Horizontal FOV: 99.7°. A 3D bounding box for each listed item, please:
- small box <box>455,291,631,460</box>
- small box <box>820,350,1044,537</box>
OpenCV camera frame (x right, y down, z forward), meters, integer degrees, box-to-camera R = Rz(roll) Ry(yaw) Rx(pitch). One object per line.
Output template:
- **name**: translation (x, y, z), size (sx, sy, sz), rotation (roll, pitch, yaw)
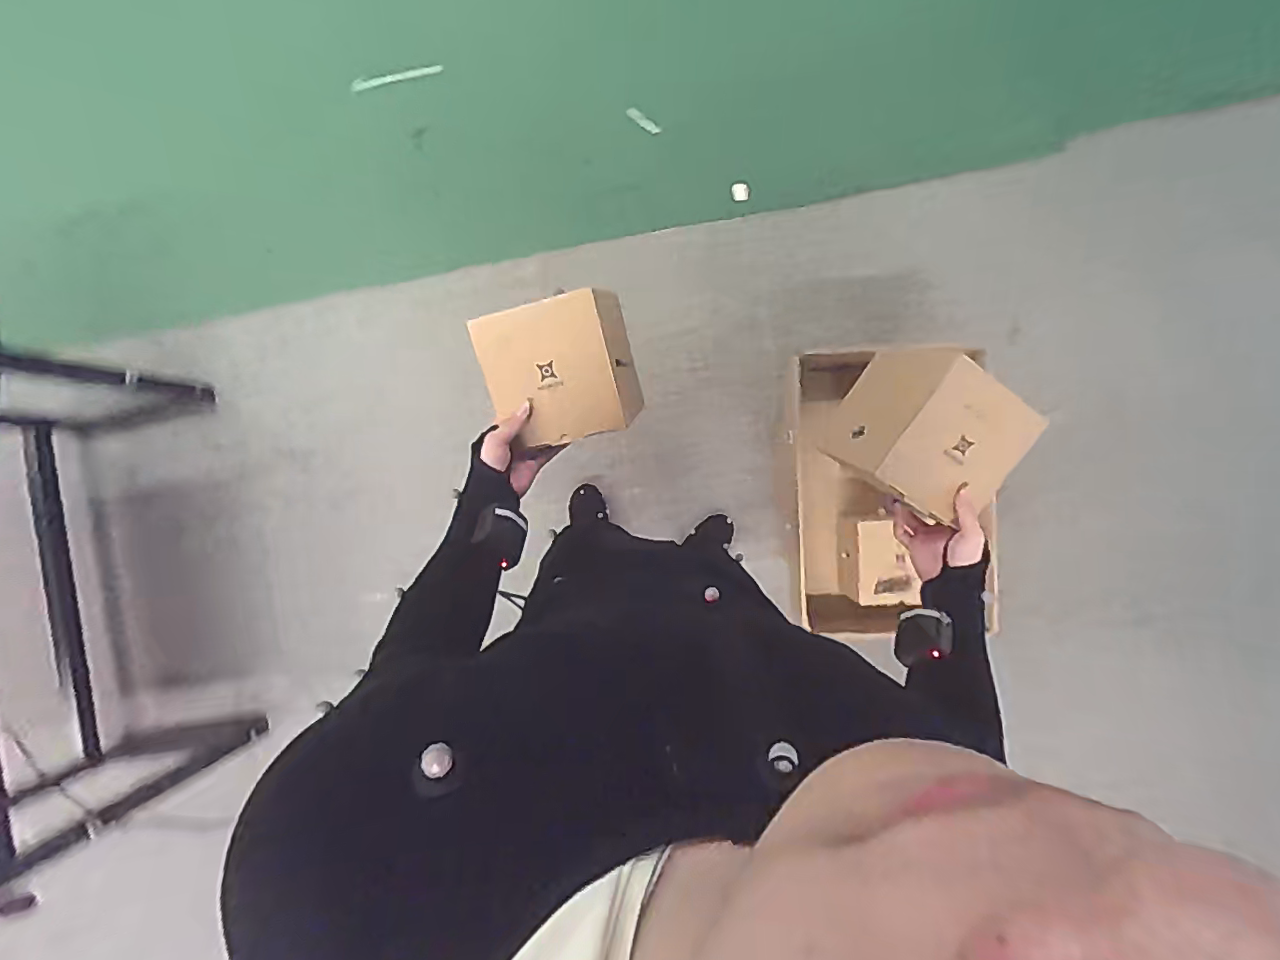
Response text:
- **small box**: translation (-0.116, -0.144, 0.732), size (0.168, 0.176, 0.179), rotation (-12, 106, 10)
- **small box**: translation (0.373, -0.058, 0.731), size (0.168, 0.176, 0.179), rotation (30, 99, -16)
